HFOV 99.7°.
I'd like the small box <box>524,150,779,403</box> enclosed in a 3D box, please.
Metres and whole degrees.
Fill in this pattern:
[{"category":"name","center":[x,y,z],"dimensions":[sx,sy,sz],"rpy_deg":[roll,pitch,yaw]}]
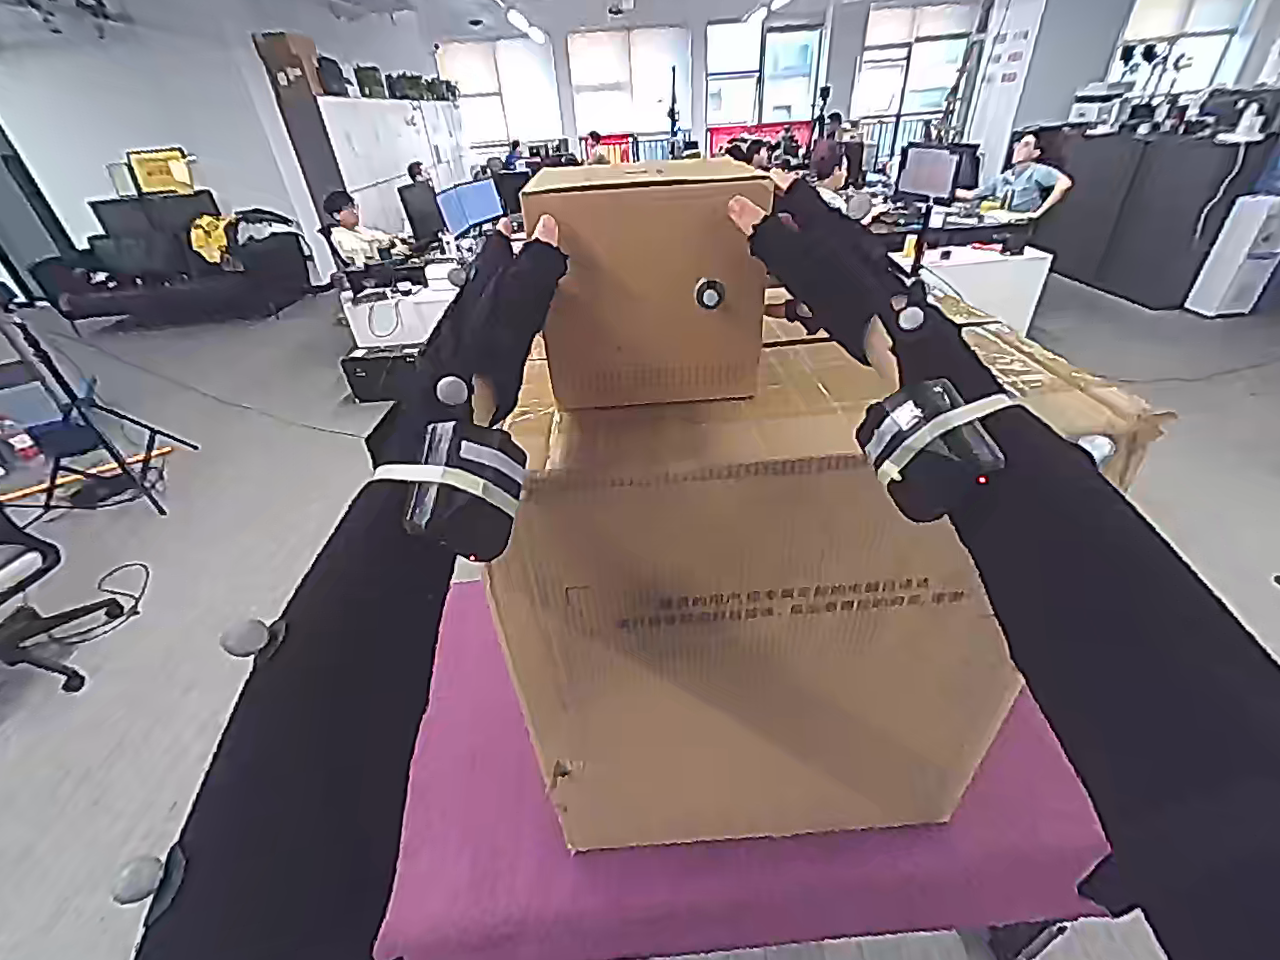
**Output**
[{"category":"small box","center":[0.009,-0.180,0.474],"dimensions":[0.179,0.176,0.168],"rpy_deg":[-5,34,0]}]
